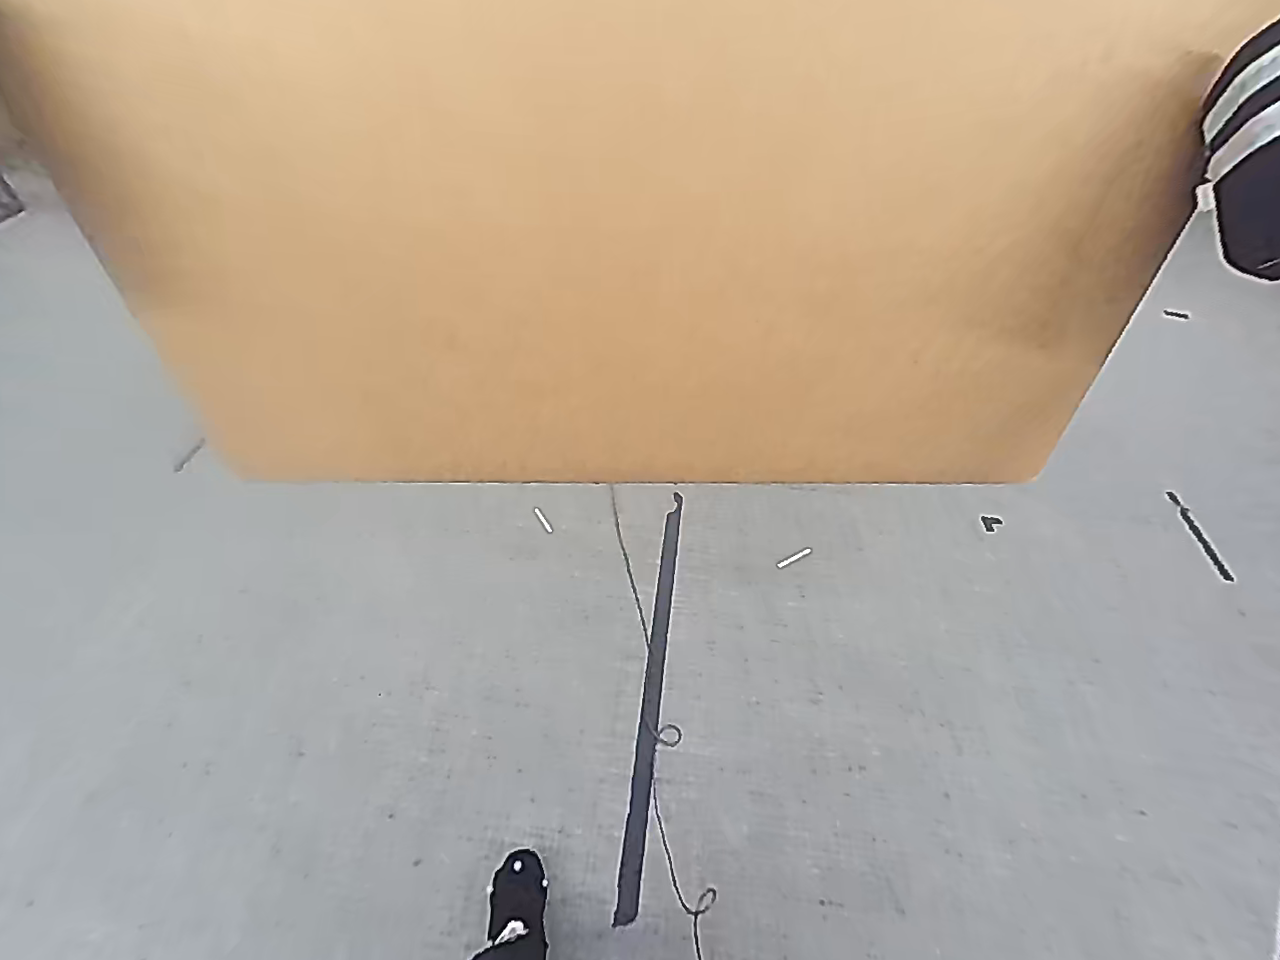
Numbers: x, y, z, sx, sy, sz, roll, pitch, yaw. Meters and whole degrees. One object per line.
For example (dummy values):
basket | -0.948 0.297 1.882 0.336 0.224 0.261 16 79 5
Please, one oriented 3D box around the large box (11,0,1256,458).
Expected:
large box | -0.003 -0.220 0.303 0.408 0.320 0.320 1 39 -1
